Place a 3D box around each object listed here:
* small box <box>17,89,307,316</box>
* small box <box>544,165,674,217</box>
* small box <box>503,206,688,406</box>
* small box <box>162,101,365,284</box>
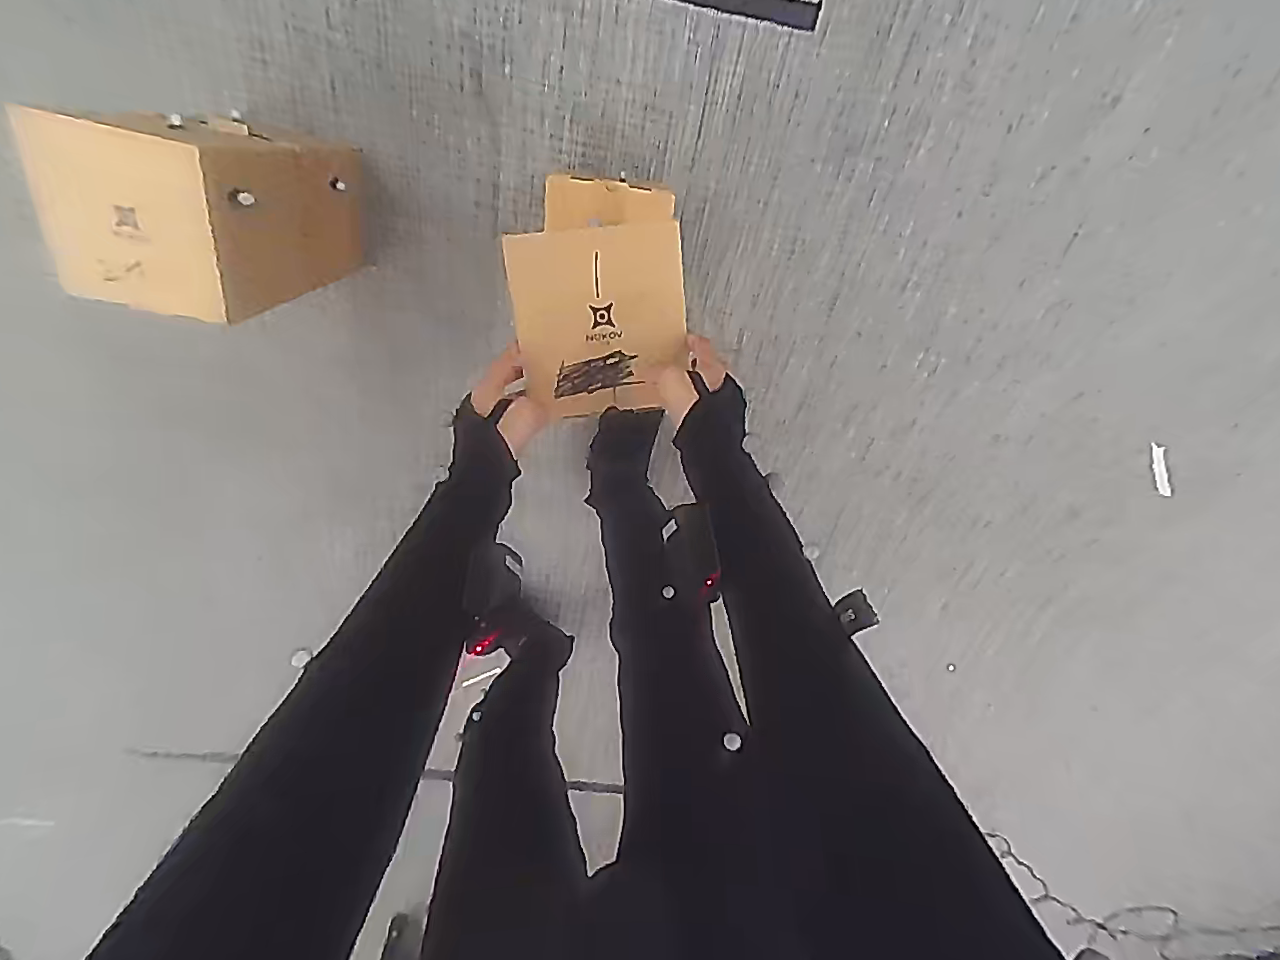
[{"bbox_3d":[-0.507,-0.309,0.611,0.168,0.176,0.179,11,120,-6],"label":"small box"},{"bbox_3d":[-0.049,-0.349,0.790,0.168,0.176,0.179,6,119,-5],"label":"small box"},{"bbox_3d":[-0.043,-0.192,0.599,0.168,0.176,0.179,-7,110,-3],"label":"small box"},{"bbox_3d":[-0.501,-0.394,0.751,0.168,0.176,0.179,12,120,-7],"label":"small box"}]
